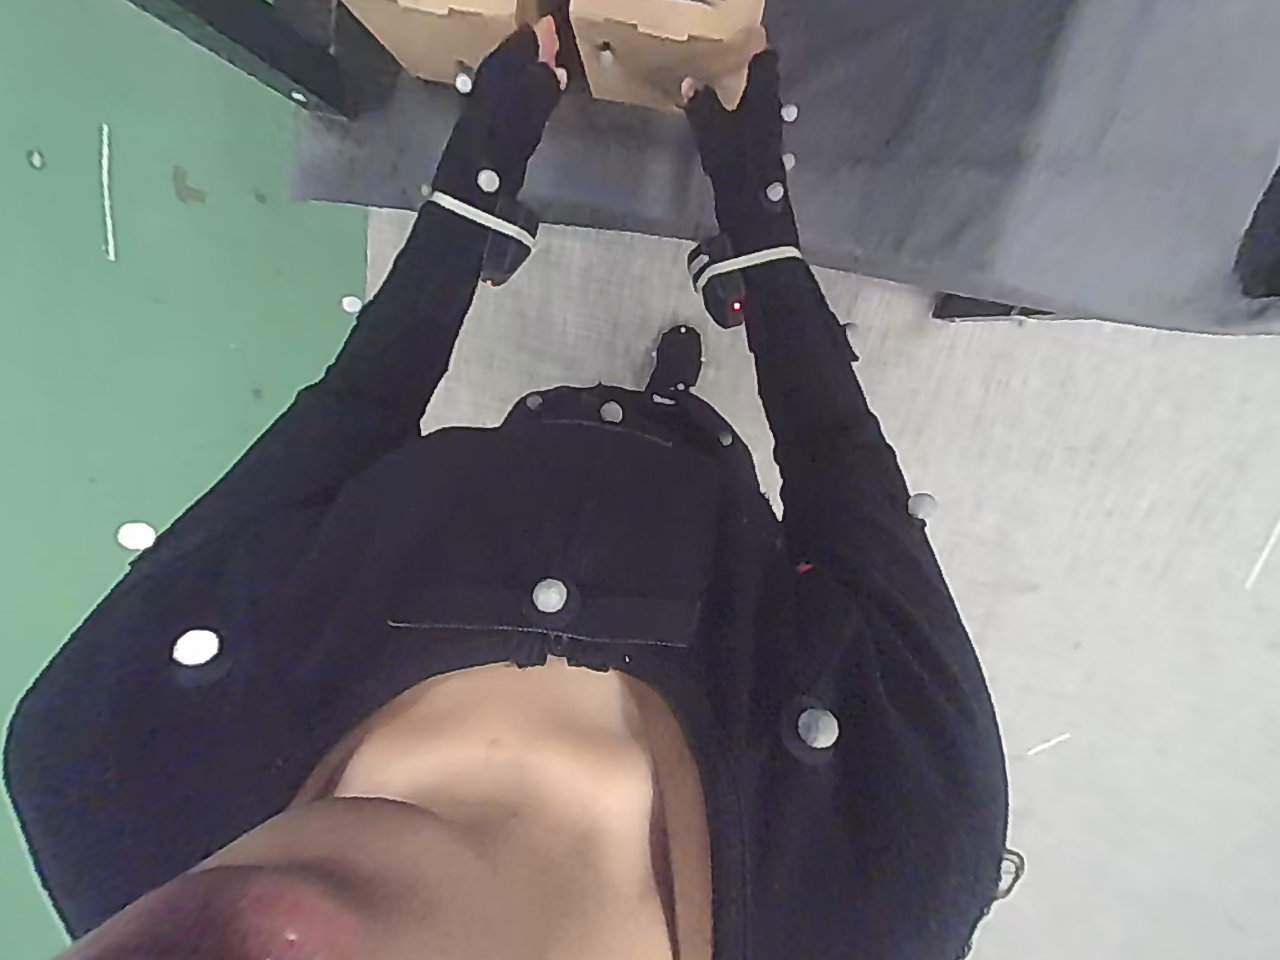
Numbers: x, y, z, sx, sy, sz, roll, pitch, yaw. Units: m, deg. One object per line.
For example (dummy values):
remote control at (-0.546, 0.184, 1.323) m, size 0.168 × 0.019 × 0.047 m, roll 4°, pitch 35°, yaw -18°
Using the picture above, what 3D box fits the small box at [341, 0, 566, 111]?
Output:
small box at (-0.169, -0.503, 0.527) m, size 0.168 × 0.176 × 0.179 m, roll 9°, pitch 105°, yaw -1°
